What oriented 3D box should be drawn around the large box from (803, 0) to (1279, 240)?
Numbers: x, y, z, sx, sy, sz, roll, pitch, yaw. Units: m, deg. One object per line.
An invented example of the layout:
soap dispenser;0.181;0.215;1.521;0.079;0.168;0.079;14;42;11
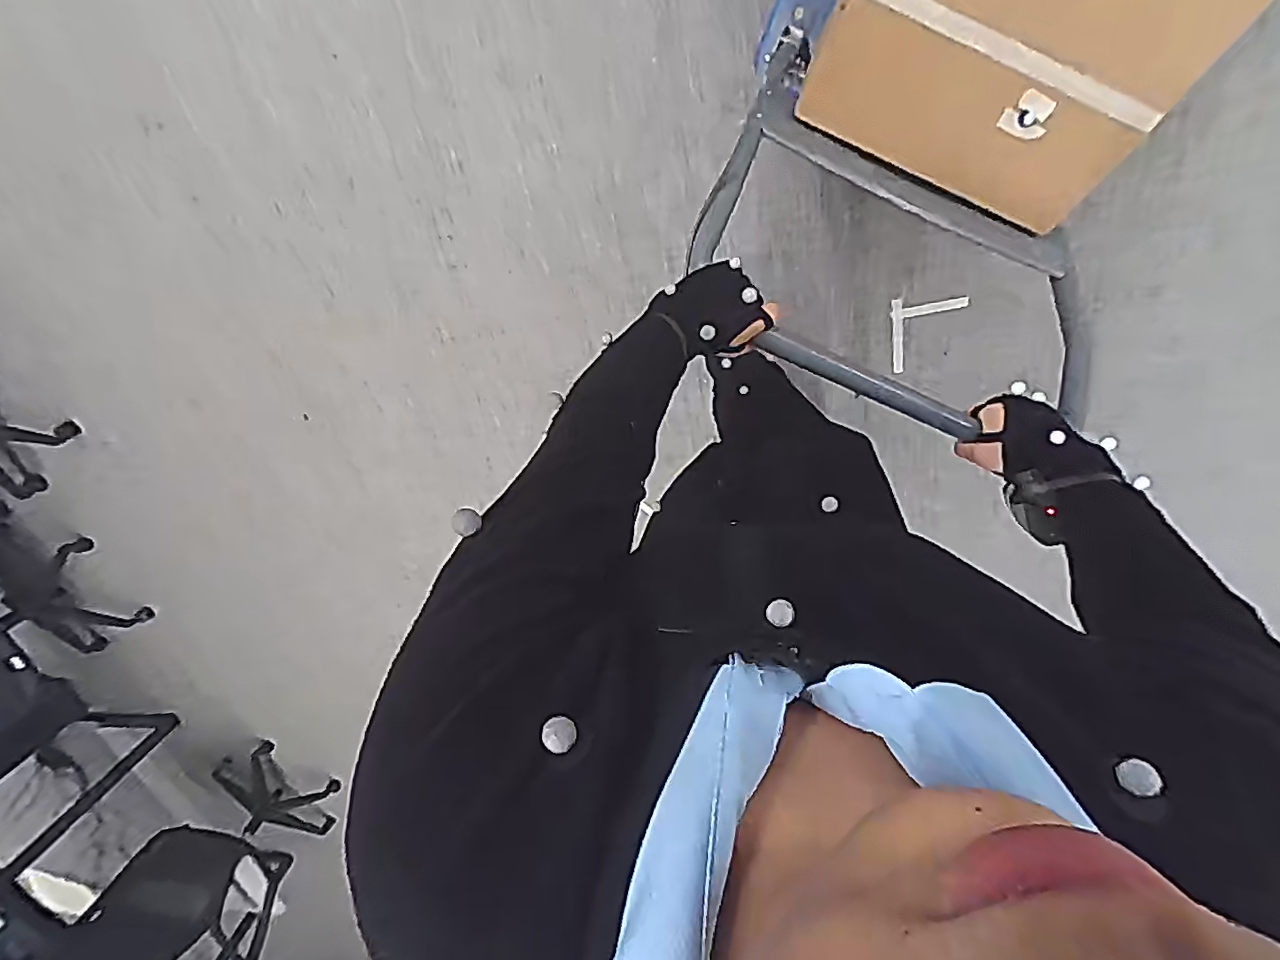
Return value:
large box;0.482;-0.604;0.723;0.408;0.320;0.320;23;143;-4
